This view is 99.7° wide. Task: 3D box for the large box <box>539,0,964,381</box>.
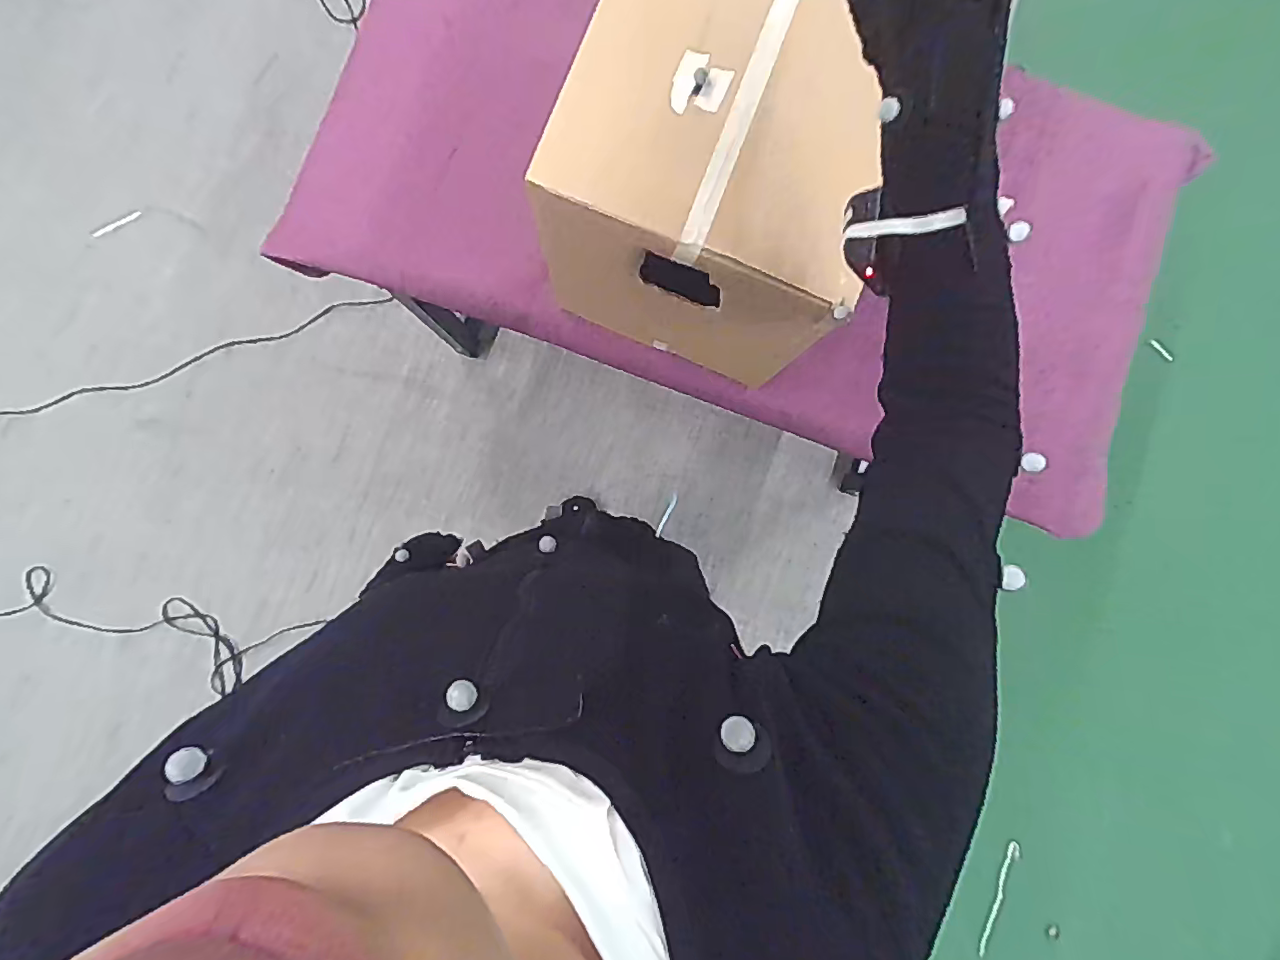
[{"bbox_3d":[0.109,-0.385,0.652,0.320,0.320,0.408,22,87,-1],"label":"large box"}]
